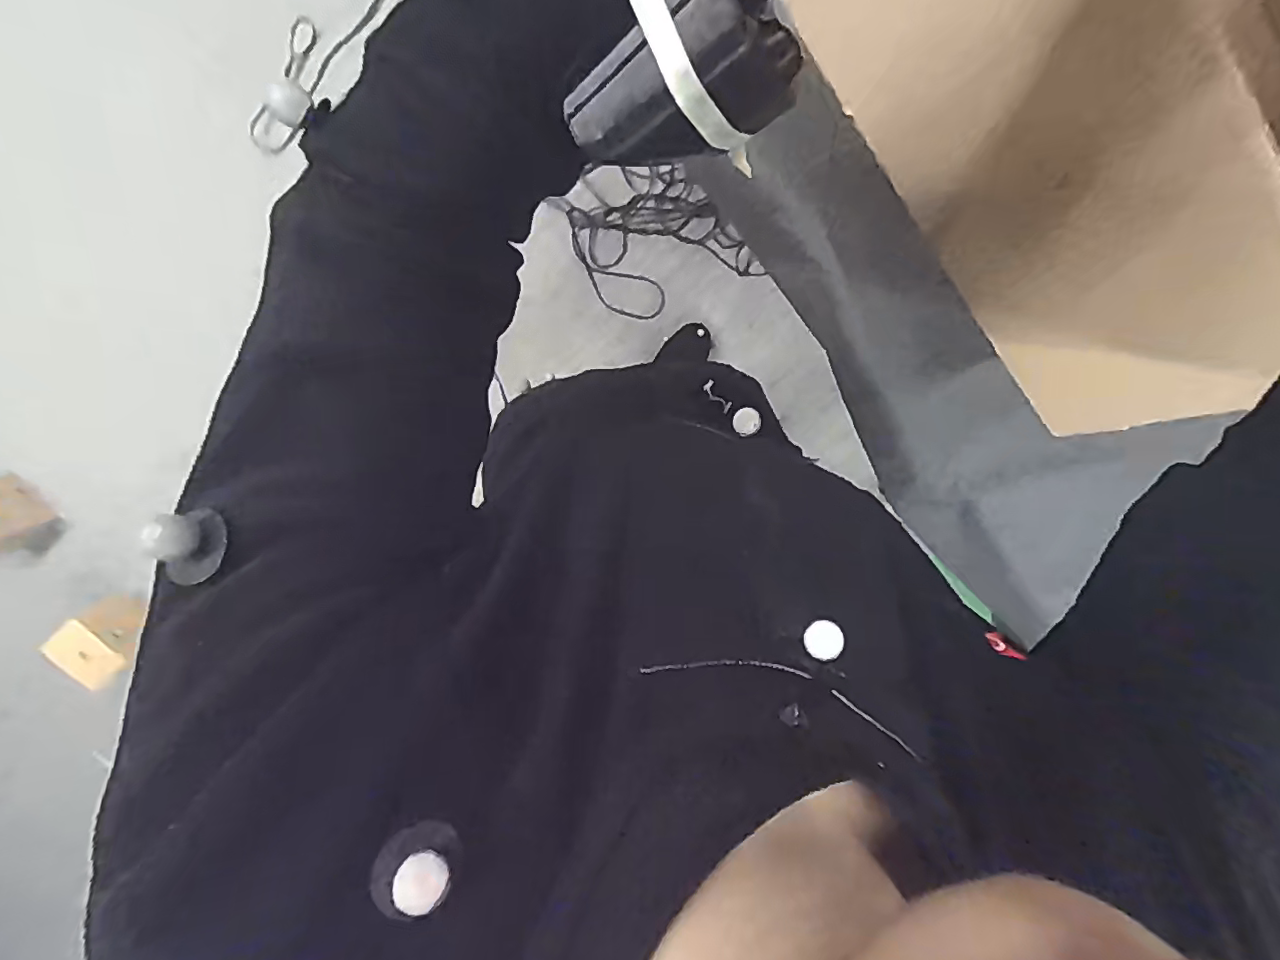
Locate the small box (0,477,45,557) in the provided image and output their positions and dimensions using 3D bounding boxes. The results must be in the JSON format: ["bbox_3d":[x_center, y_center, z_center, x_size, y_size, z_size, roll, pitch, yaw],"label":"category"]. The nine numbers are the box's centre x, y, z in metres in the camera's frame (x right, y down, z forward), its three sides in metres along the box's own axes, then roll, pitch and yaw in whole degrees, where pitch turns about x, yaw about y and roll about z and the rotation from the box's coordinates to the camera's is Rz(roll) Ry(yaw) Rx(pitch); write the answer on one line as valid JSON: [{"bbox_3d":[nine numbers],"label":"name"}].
[{"bbox_3d":[-1.731,0.115,1.405,0.179,0.176,0.168,-33,102,12],"label":"small box"}]

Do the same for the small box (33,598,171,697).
[{"bbox_3d":[-1.479,0.452,1.498,0.168,0.176,0.179,-37,102,12],"label":"small box"}]
